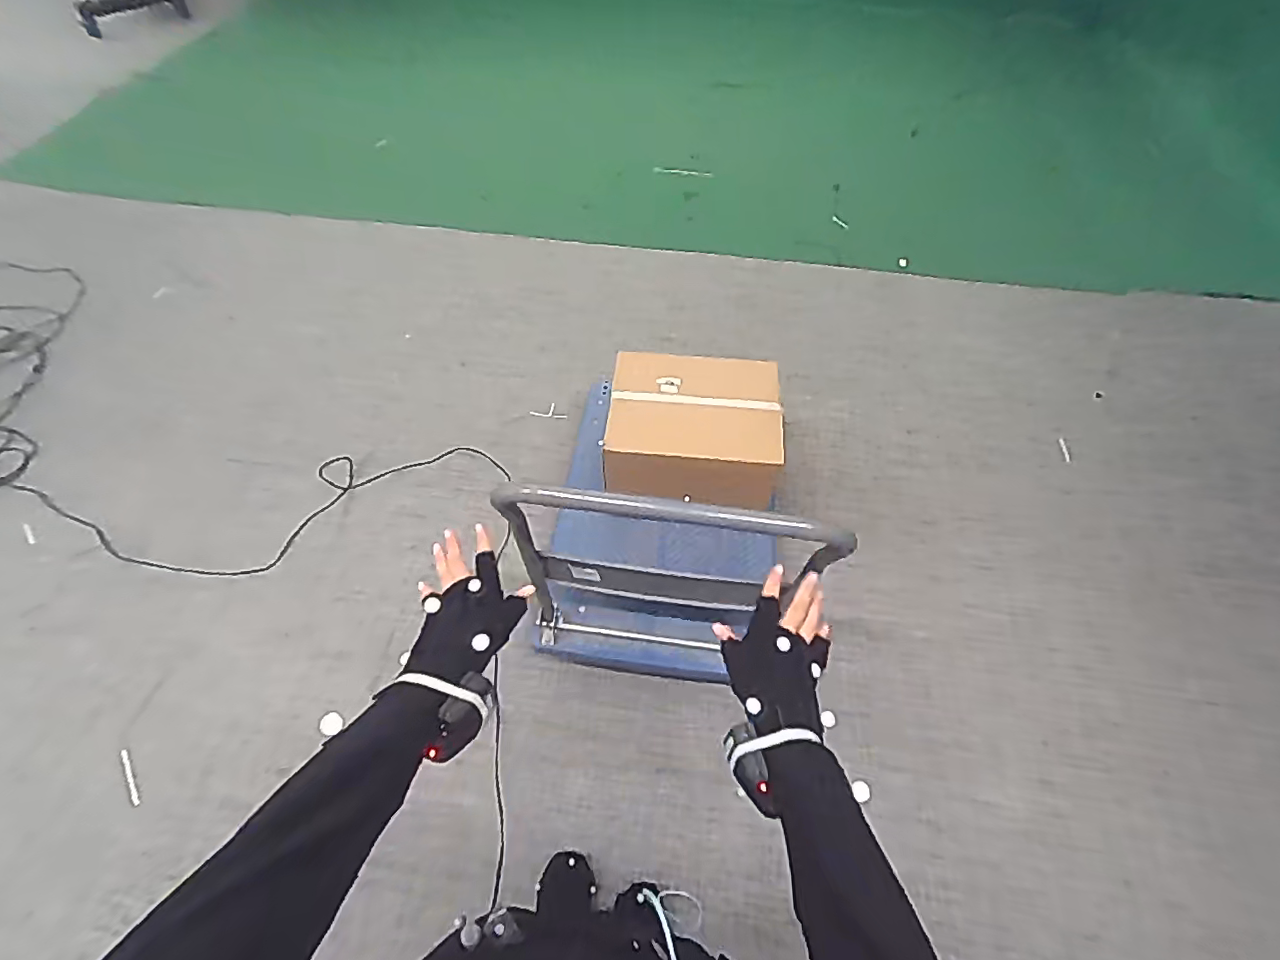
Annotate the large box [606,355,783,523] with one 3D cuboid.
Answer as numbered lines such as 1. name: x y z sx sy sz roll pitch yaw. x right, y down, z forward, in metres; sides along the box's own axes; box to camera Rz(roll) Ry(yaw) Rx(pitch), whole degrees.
1. large box: 0.133 -0.099 1.413 0.408 0.320 0.320 4 57 3
